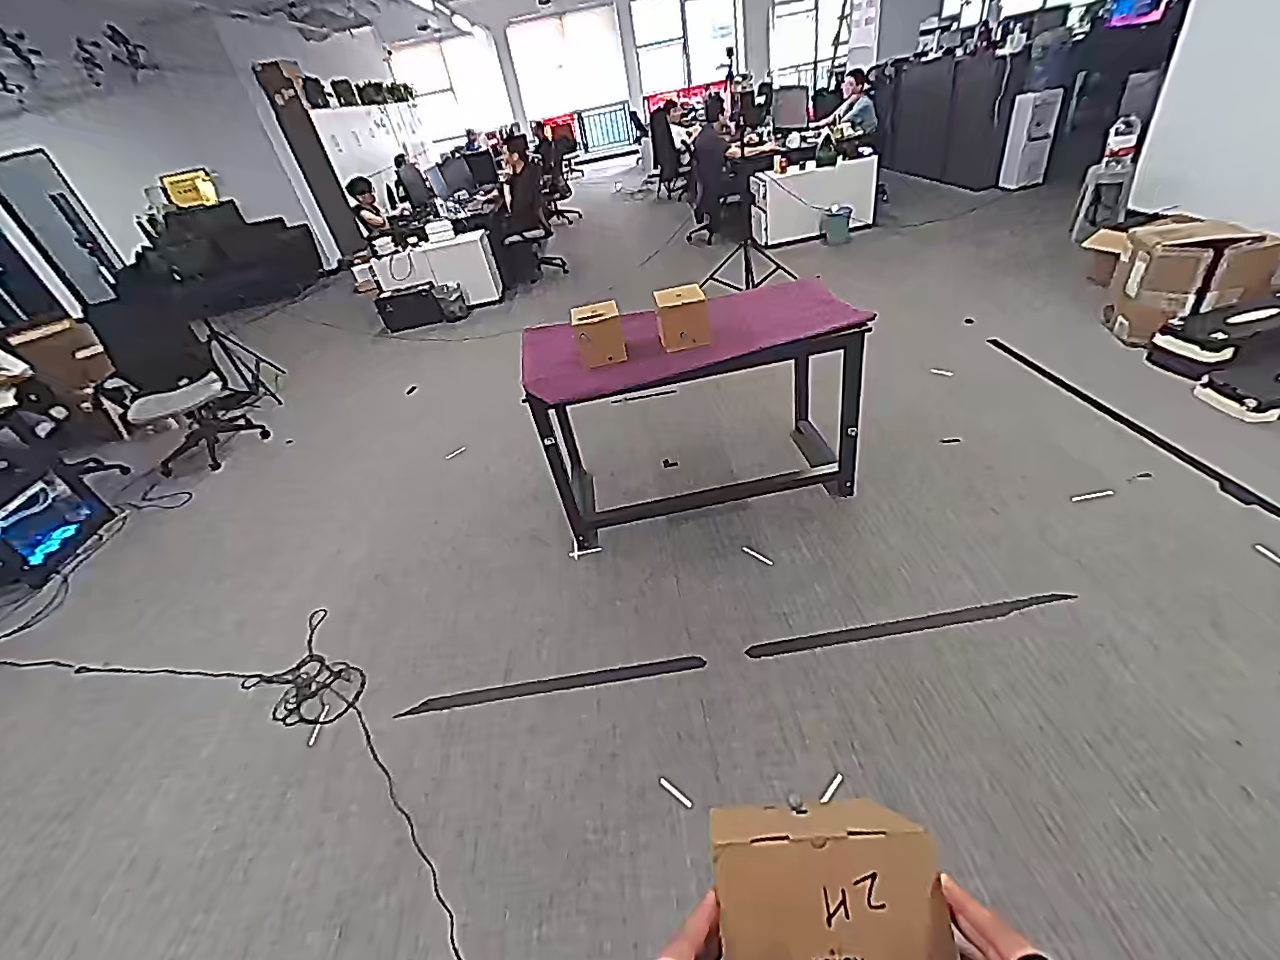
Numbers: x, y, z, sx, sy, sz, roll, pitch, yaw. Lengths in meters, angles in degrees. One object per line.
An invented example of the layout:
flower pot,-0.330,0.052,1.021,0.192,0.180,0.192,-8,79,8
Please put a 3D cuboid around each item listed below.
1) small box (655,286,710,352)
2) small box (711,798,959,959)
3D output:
small box,0.152,-0.583,1.960,0.168,0.176,0.179,-12,36,1
small box,0.151,0.380,0.451,0.168,0.176,0.179,-6,65,4
